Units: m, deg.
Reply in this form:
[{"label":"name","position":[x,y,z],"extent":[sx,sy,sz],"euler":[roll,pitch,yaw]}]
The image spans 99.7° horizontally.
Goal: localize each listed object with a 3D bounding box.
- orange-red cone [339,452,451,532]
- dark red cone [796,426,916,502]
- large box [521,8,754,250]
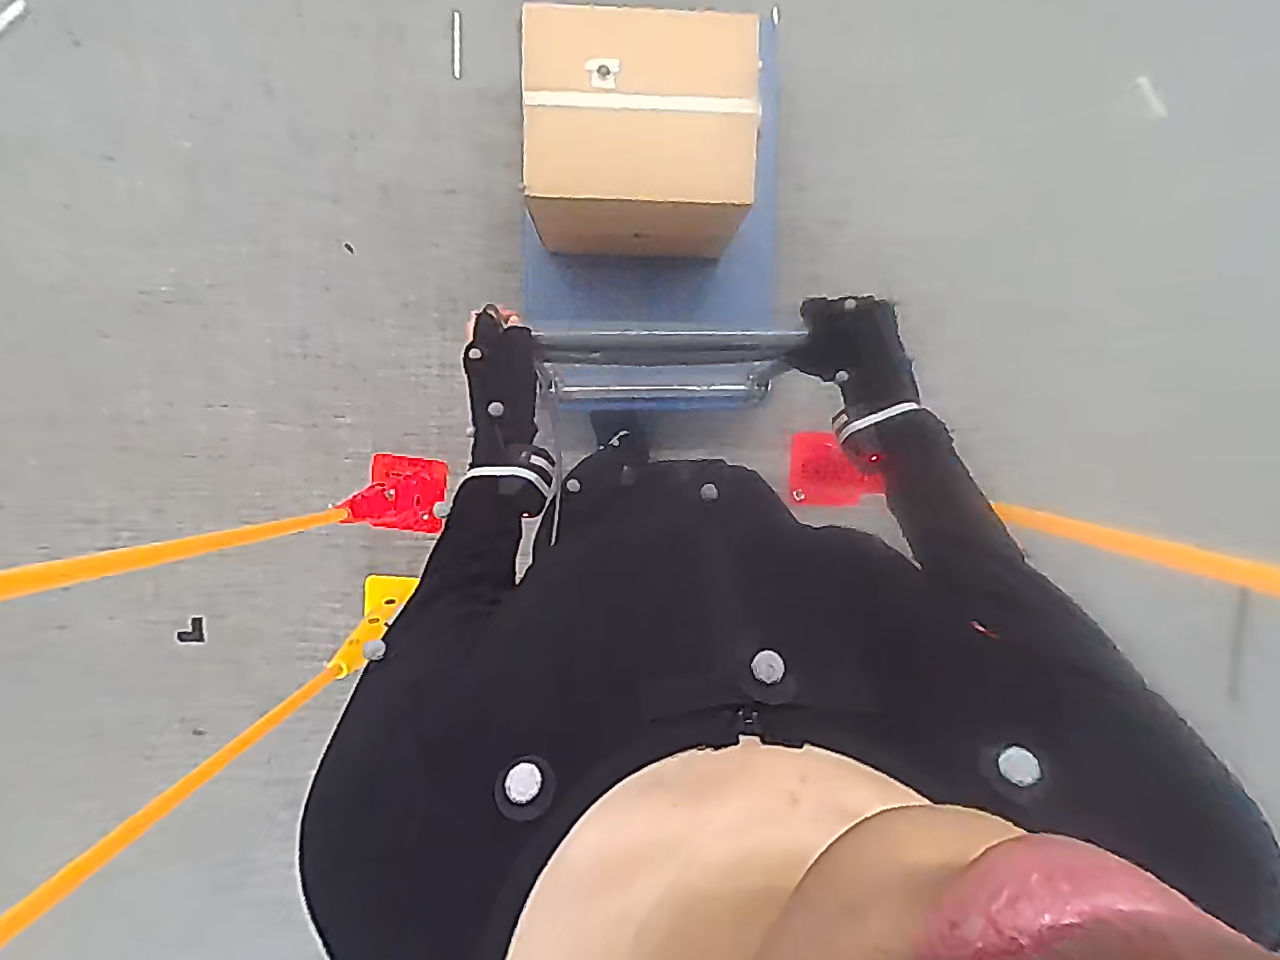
[{"label":"orange-red cone","position":[-0.605,0.045,1.275],"extent":[0.198,0.360,0.199],"euler":[8,94,-4]},{"label":"dark red cone","position":[0.527,-0.025,1.285],"extent":[0.201,0.394,0.202],"euler":[1,96,-4]},{"label":"large box","position":[-0.005,-0.663,1.080],"extent":[0.408,0.320,0.320],"euler":[1,95,-2]}]
